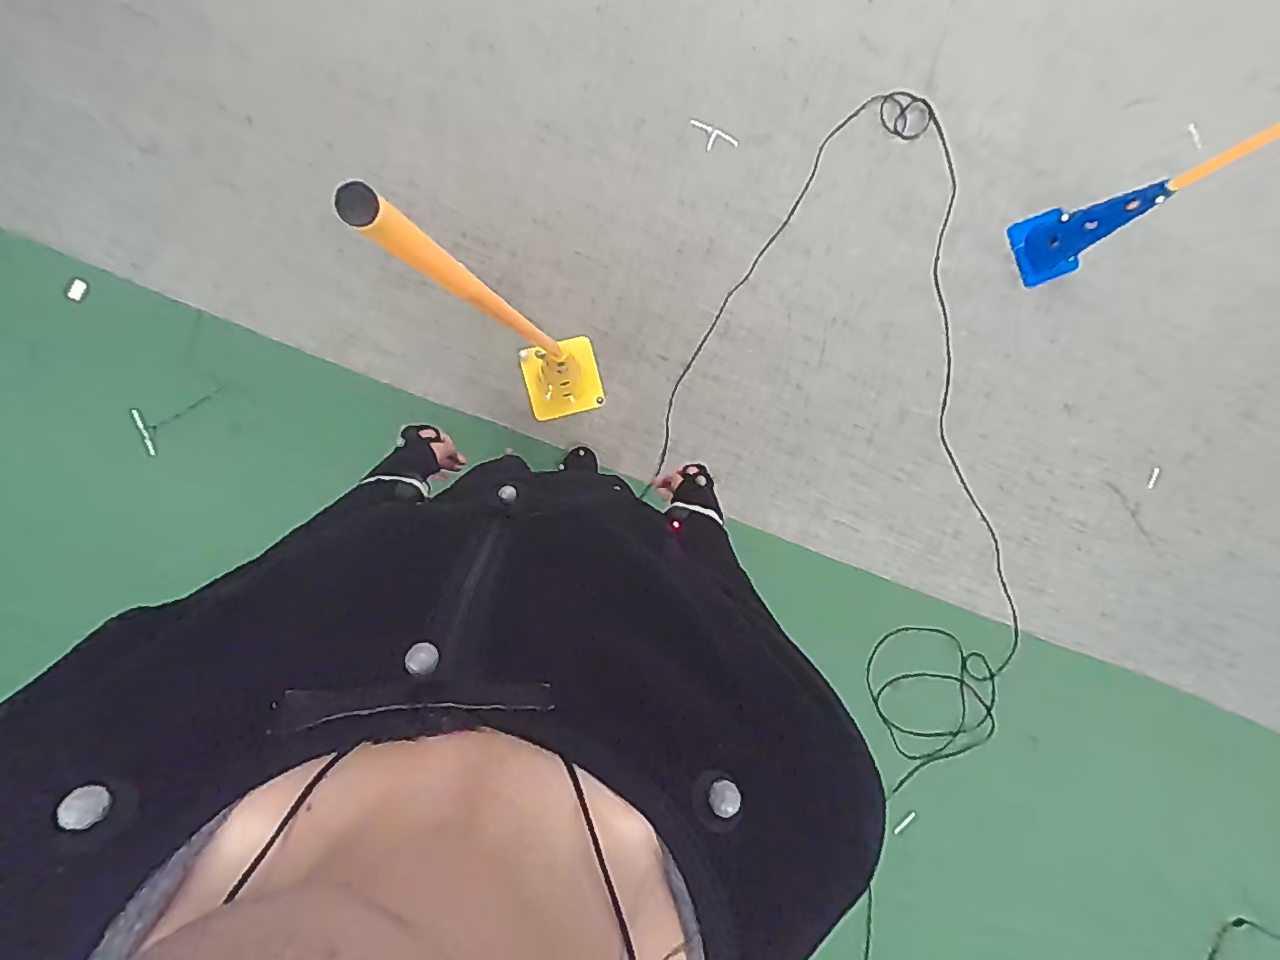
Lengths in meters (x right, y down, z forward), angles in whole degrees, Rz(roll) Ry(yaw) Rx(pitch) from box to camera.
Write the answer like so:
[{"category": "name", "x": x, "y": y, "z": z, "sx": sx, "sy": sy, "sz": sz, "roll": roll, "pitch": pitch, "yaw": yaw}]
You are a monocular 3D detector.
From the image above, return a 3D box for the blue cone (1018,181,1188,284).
[{"category": "blue cone", "x": 1.266, "y": -0.708, "z": 1.476, "sx": 0.193, "sy": 0.380, "sz": 0.192, "roll": -23, "pitch": 94, "yaw": -8}]
